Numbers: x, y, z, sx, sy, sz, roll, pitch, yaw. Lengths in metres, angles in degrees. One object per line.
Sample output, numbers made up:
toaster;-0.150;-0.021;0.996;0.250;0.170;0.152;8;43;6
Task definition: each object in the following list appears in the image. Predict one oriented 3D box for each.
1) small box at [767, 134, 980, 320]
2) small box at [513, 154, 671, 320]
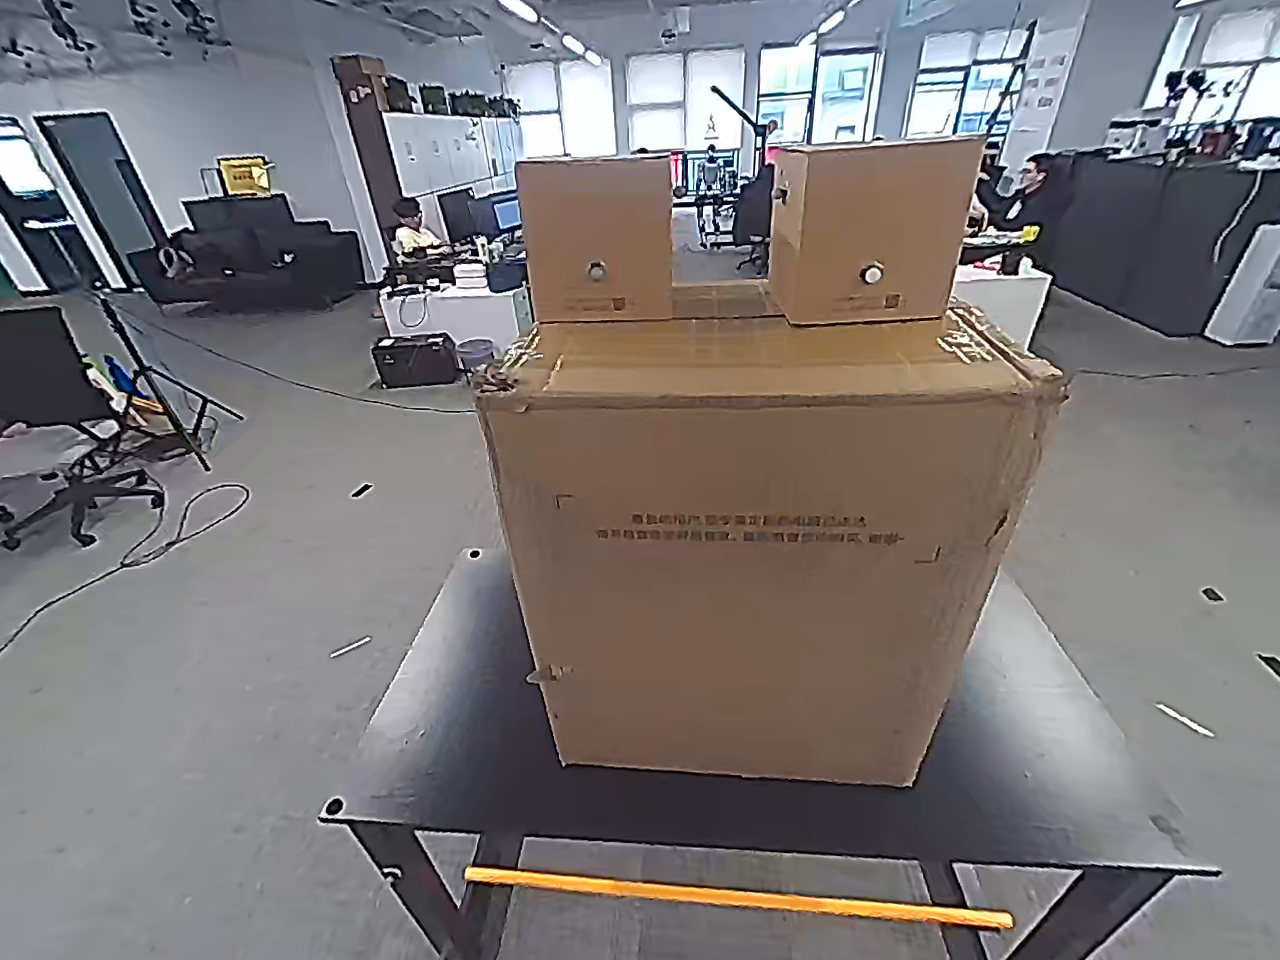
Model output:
small box;0.243;-0.288;0.617;0.168;0.176;0.179;-2;32;4
small box;-0.046;-0.304;0.672;0.168;0.176;0.179;-1;32;4
